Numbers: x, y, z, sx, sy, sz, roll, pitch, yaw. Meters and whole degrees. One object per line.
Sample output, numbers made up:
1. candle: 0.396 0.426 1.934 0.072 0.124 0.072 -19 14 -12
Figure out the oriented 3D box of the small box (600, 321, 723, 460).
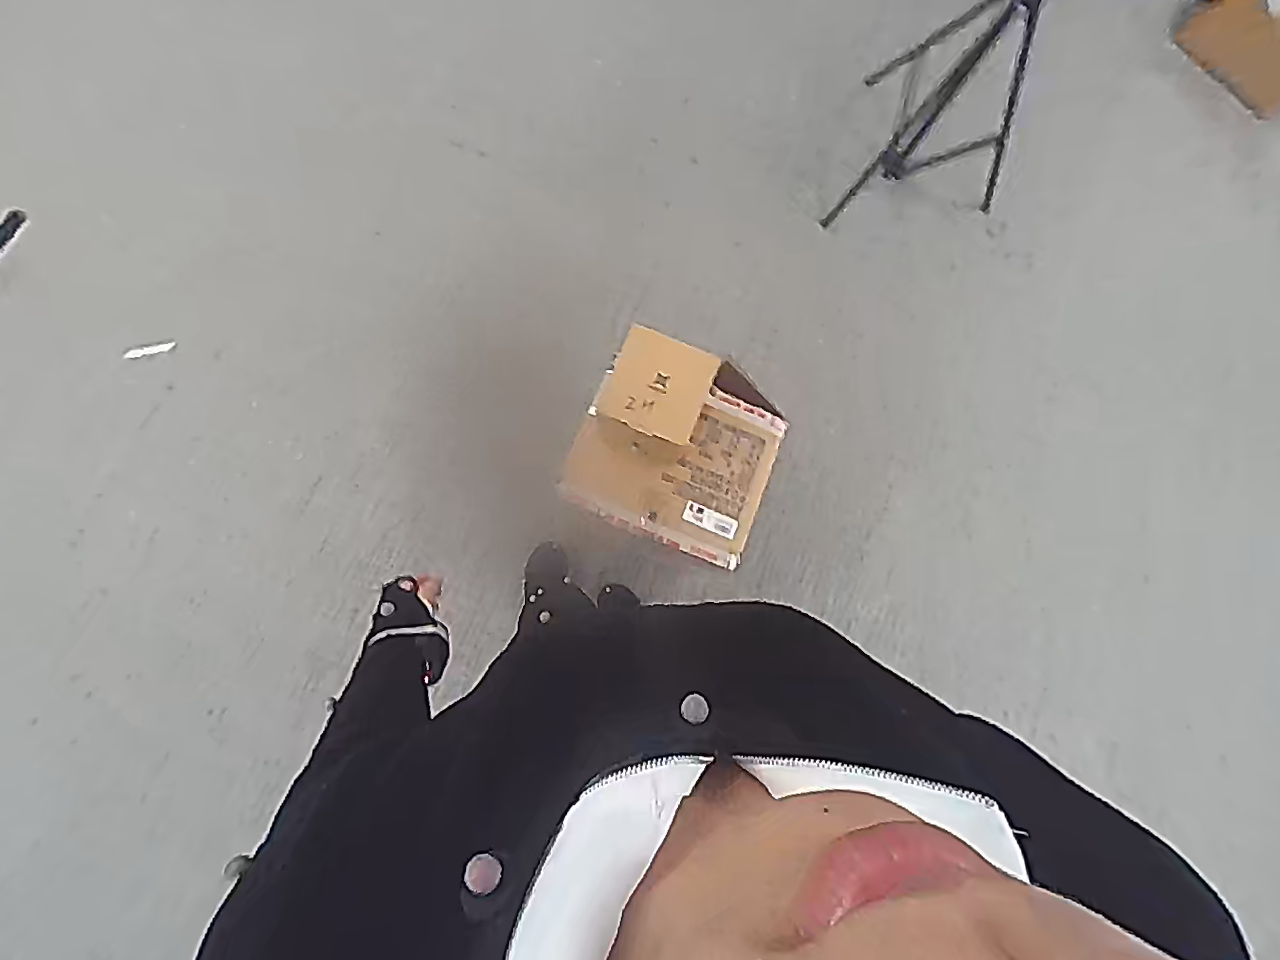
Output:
1. small box: 0.033 -0.156 0.998 0.168 0.176 0.179 23 81 1
